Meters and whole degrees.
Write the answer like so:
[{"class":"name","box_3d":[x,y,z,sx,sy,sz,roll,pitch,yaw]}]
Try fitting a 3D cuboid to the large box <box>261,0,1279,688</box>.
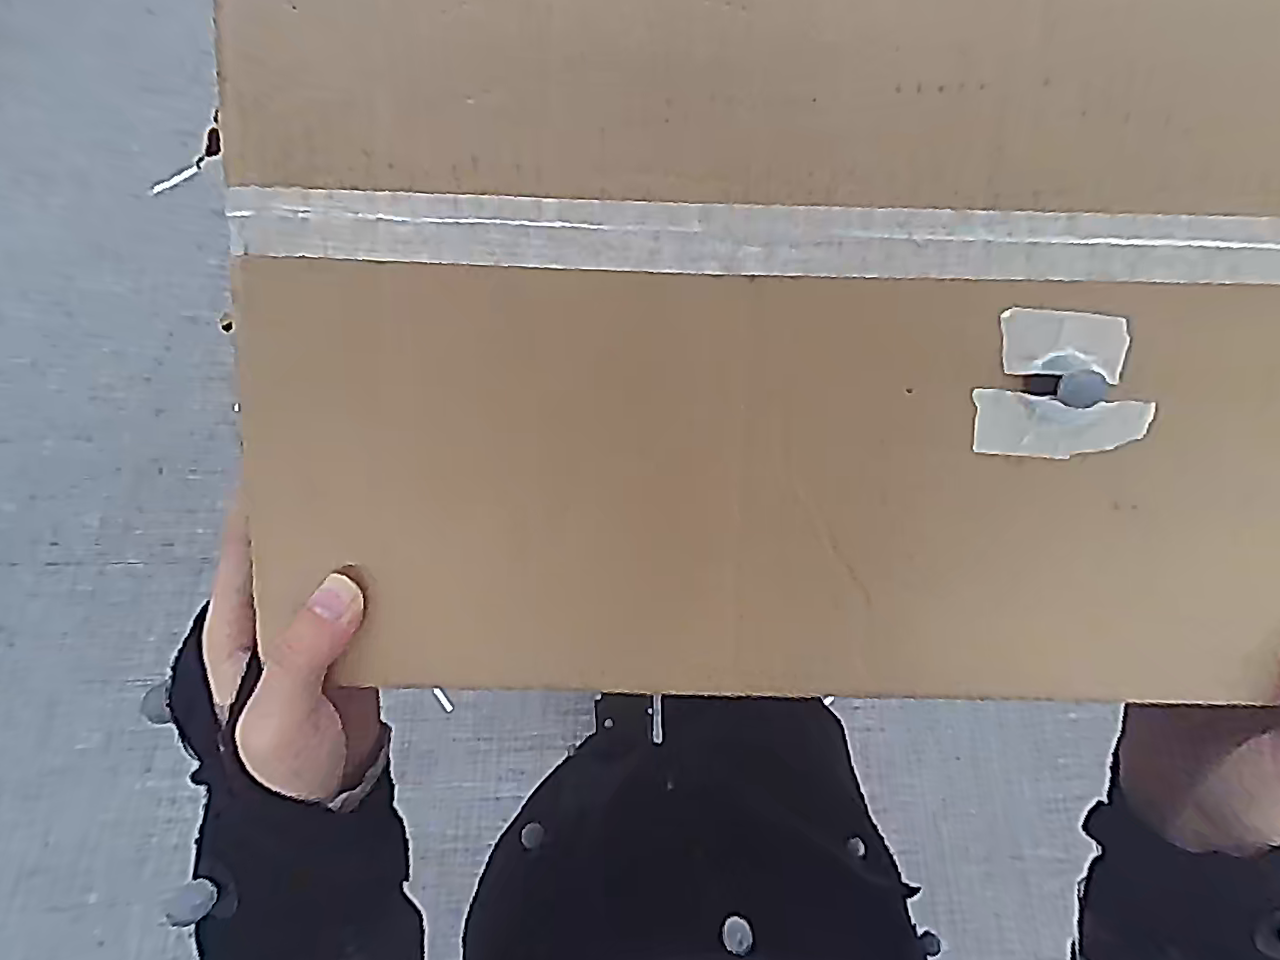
[{"class":"large box","box_3d":[0.067,-0.090,0.338,0.408,0.320,0.320,1,96,-2]}]
